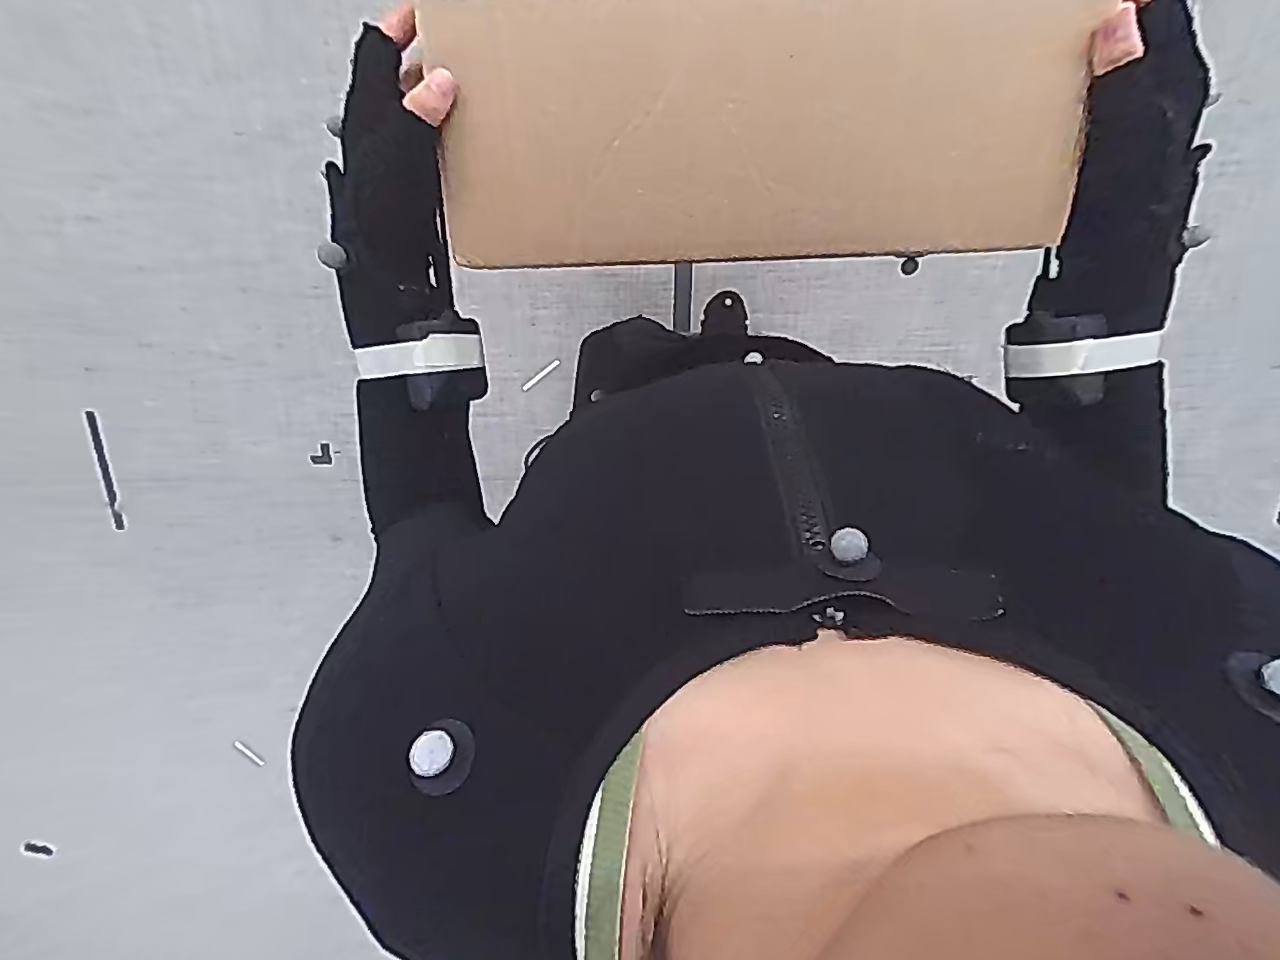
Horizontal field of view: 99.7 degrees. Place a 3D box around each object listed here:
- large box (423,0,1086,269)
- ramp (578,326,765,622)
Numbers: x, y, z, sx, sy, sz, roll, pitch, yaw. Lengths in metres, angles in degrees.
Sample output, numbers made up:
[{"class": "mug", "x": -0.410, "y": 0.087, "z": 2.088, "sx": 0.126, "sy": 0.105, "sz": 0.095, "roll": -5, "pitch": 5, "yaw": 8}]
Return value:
[{"class": "large box", "x": 0.069, "y": -0.357, "z": 0.451, "sx": 0.408, "sy": 0.320, "sz": 0.320, "roll": -2, "pitch": 113, "yaw": 0}, {"class": "ramp", "x": 0.087, "y": 0.045, "z": 1.624, "sx": 0.509, "sy": 0.206, "sz": 0.991, "roll": -2, "pitch": 108, "yaw": 1}]
